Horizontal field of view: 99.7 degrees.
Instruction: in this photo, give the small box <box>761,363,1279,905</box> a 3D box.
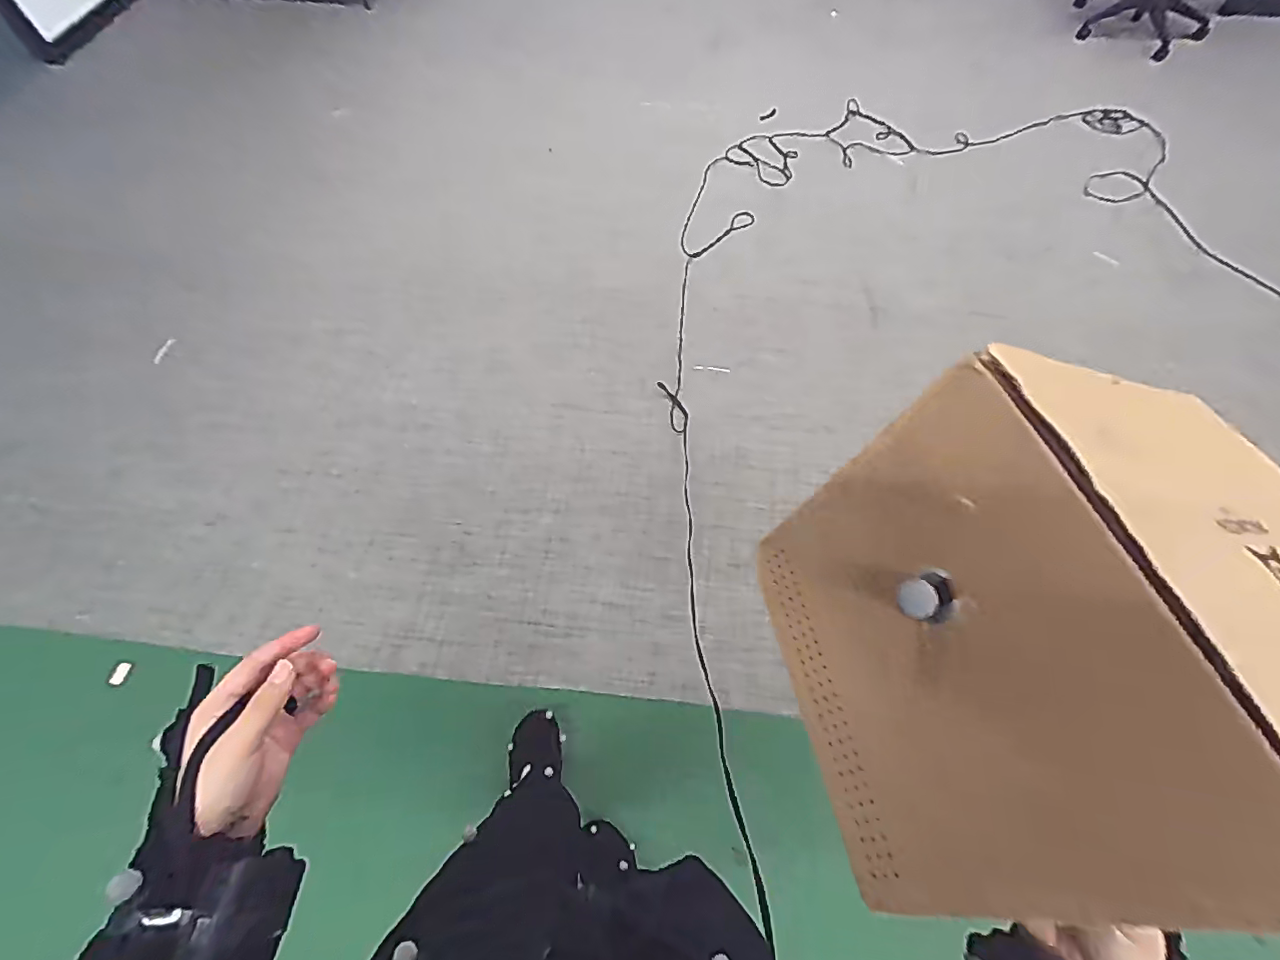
[{"bbox_3d":[0.184,0.074,0.256,0.168,0.176,0.179,2,53,-23],"label":"small box"}]
